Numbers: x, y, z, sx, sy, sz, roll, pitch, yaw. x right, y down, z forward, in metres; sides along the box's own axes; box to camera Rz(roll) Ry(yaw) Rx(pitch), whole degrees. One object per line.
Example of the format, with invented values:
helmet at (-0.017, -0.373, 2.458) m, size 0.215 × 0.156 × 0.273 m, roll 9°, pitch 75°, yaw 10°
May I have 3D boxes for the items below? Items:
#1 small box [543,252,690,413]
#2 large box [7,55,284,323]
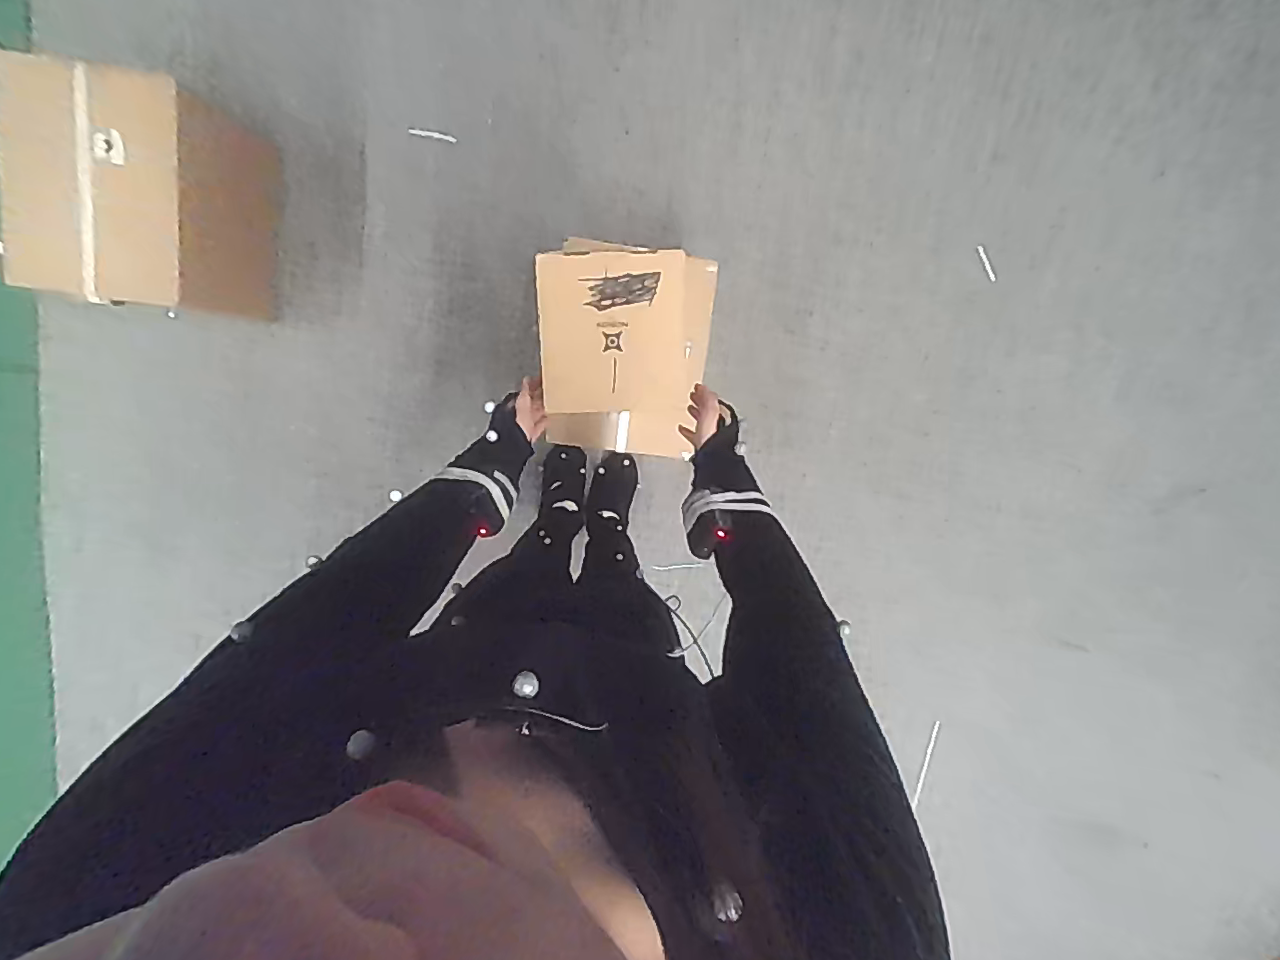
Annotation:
small box at (-0.027, -0.177, 0.686) m, size 0.168 × 0.176 × 0.179 m, roll -2°, pitch 101°, yaw 0°
large box at (-1.002, -0.569, 1.145) m, size 0.320 × 0.320 × 0.408 m, roll 7°, pitch 99°, yaw -4°
